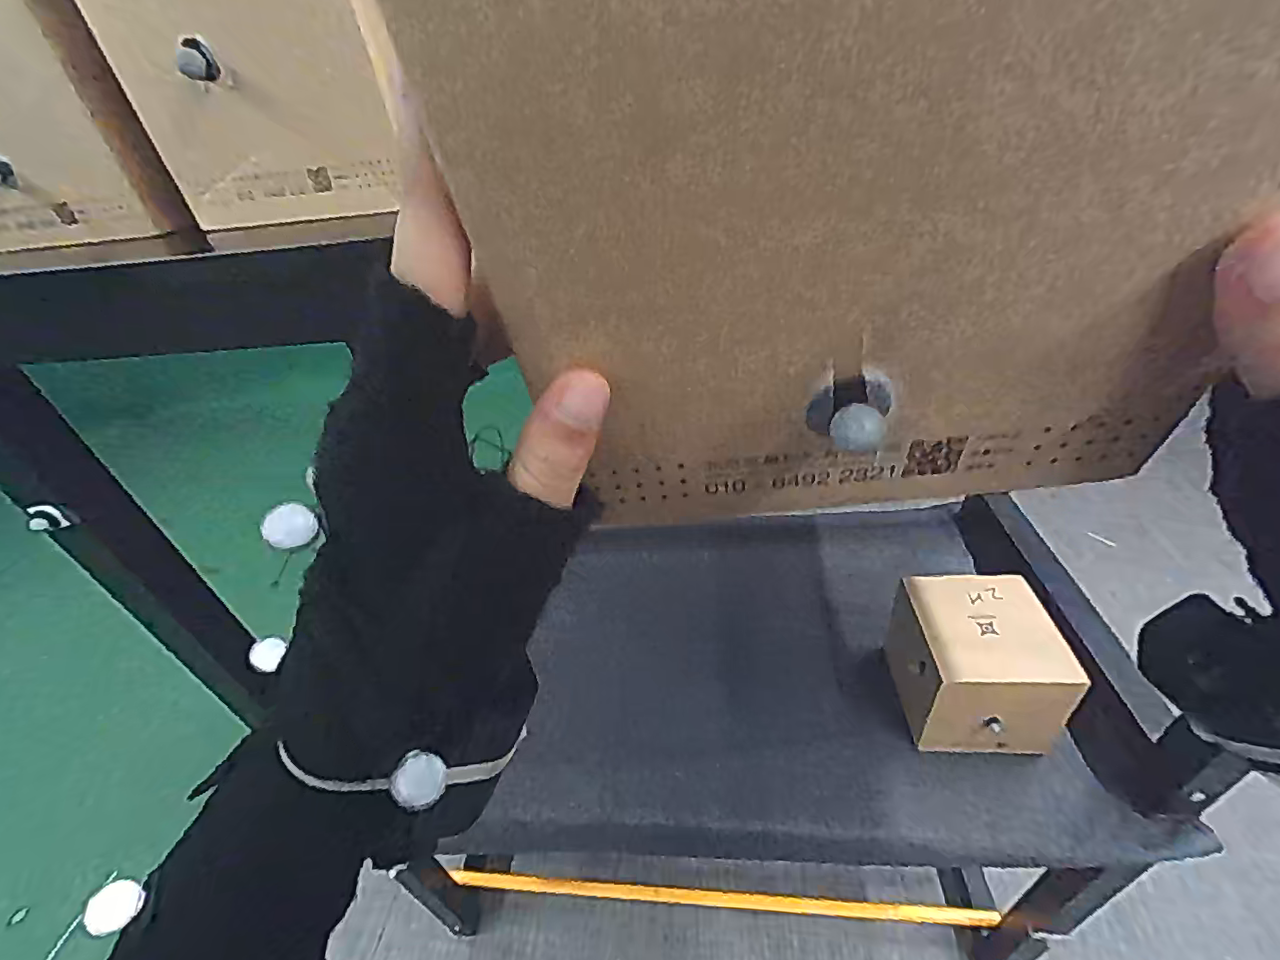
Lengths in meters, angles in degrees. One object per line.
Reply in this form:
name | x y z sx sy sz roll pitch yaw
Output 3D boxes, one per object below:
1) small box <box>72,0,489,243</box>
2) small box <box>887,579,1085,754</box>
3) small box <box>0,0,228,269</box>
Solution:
small box | -0.230 -0.282 0.399 0.168 0.176 0.179 -2 36 8
small box | 0.464 0.261 0.760 0.168 0.176 0.179 -2 36 8
small box | -0.424 -0.277 0.424 0.168 0.176 0.179 -3 37 7
